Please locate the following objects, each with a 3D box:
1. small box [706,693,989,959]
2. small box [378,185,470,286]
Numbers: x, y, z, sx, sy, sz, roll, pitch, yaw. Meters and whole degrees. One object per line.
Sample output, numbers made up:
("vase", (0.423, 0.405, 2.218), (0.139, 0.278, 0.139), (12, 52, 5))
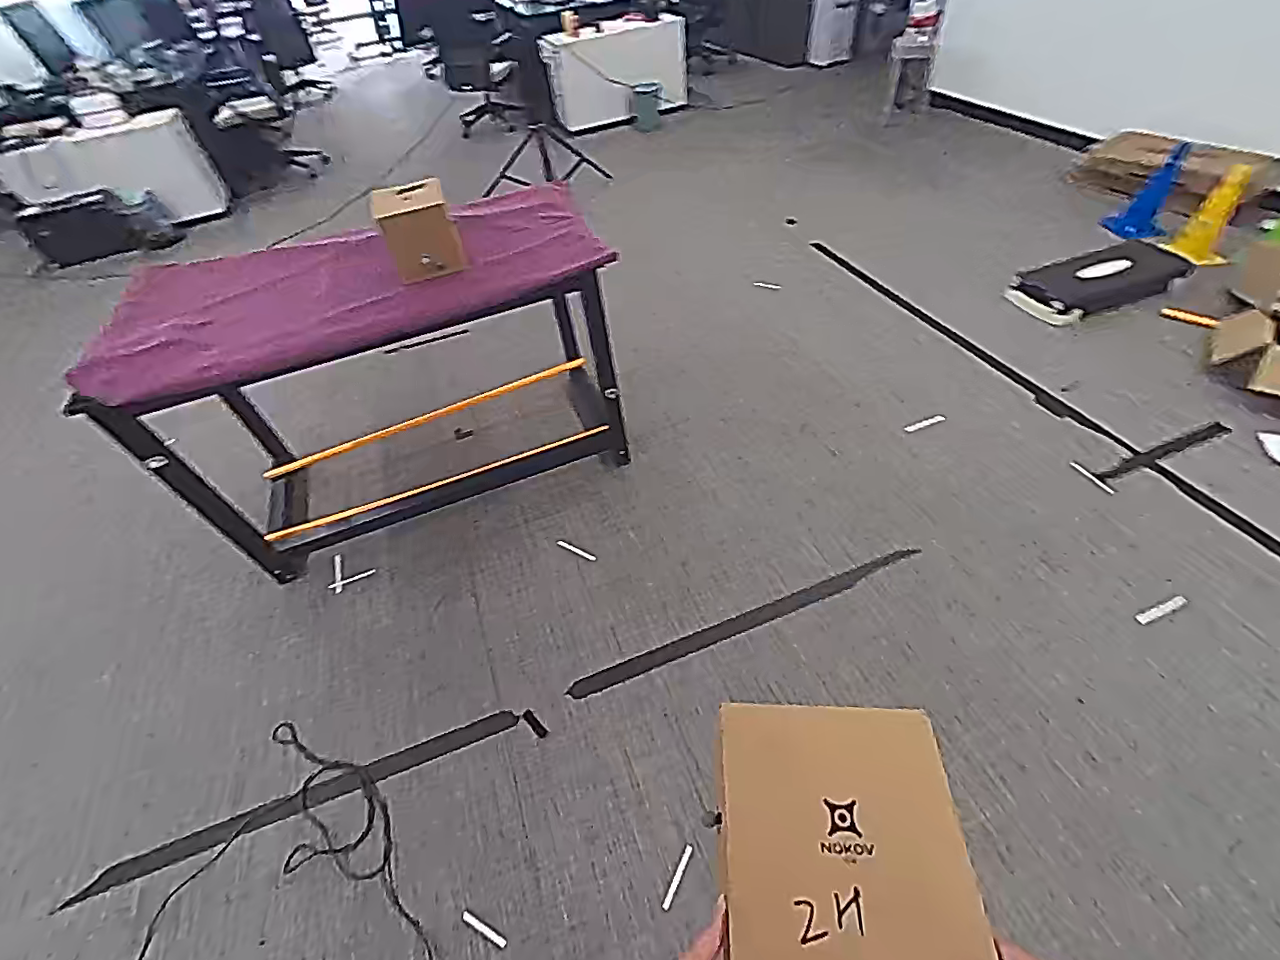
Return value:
("small box", (0.142, 0.296, 0.446), (0.168, 0.176, 0.179), (0, 49, 4))
("small box", (-0.549, -0.622, 1.380), (0.168, 0.176, 0.179), (-18, 49, -8))
